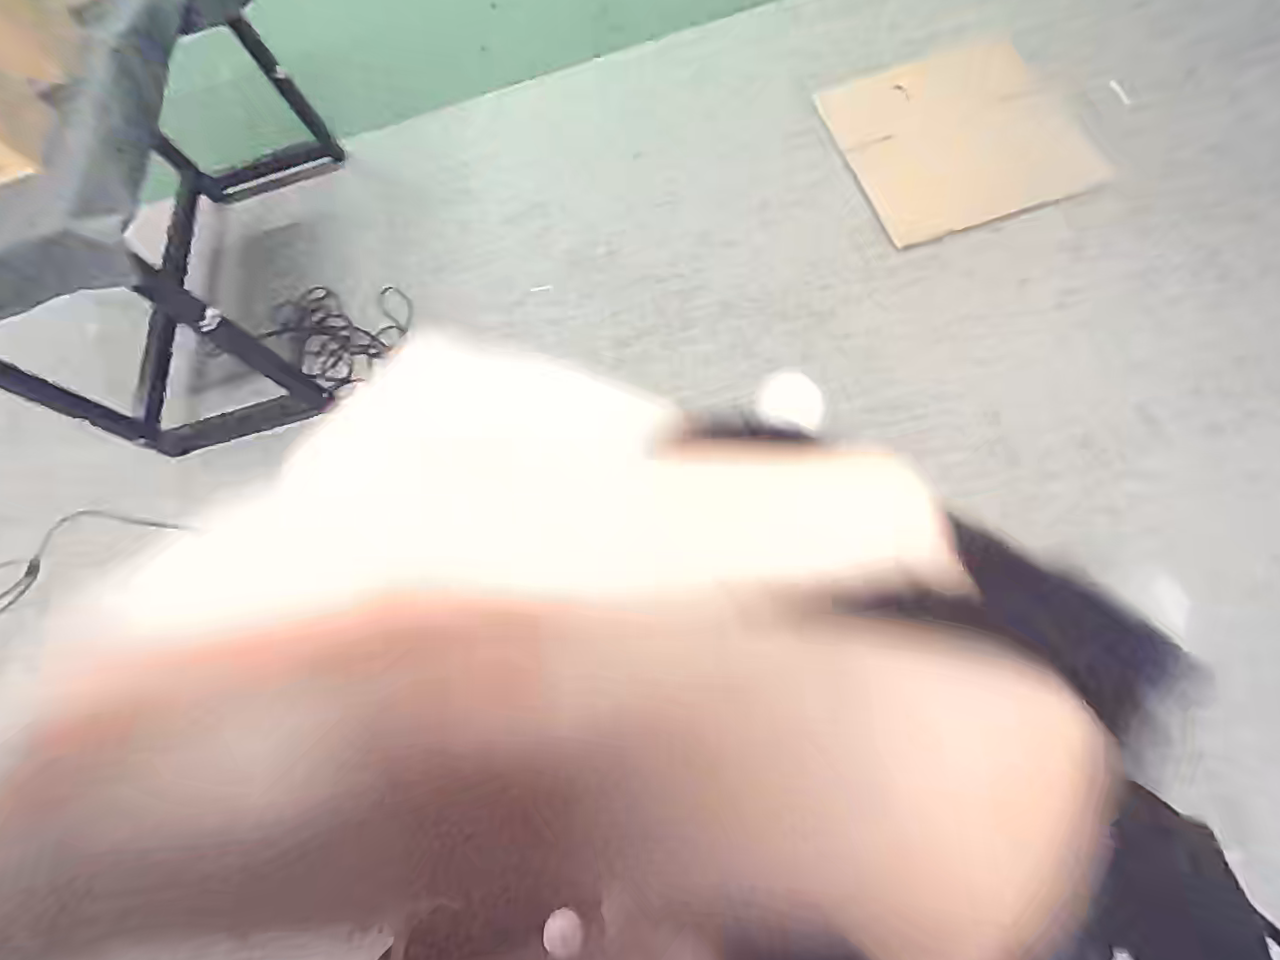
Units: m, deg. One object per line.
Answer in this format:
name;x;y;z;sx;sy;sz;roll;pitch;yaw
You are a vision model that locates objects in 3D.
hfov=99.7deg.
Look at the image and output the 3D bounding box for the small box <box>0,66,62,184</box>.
small box;-1.250;-0.680;1.007;0.168;0.176;0.179;-14;66;5
